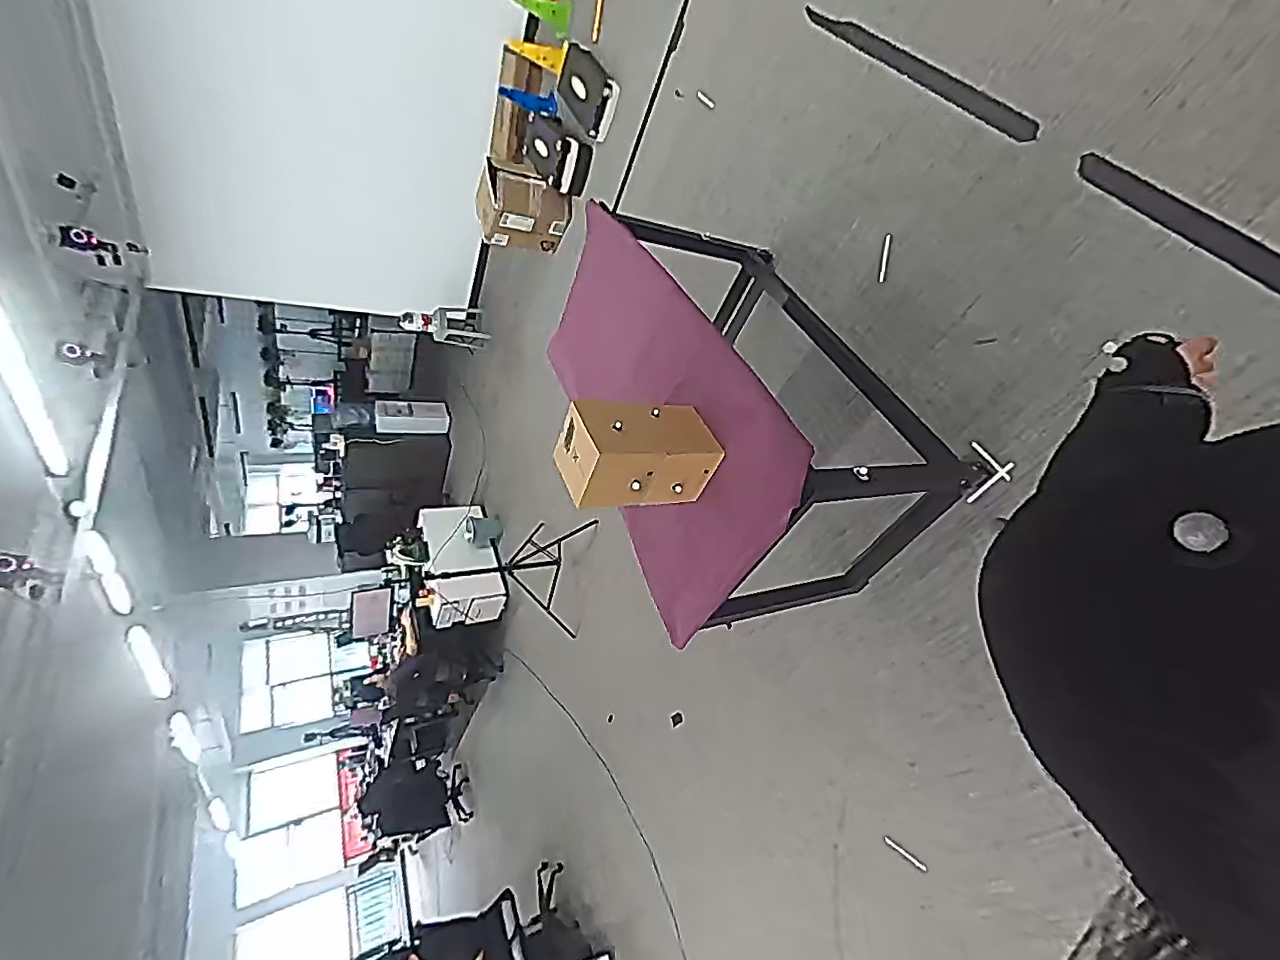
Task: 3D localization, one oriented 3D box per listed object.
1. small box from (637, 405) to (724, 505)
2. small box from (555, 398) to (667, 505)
[{"bbox_3d":[0.071,-0.063,1.293,0.179,0.176,0.168,61,140,36],"label":"small box"},{"bbox_3d":[-0.067,-0.061,1.204,0.179,0.176,0.168,61,140,35],"label":"small box"}]
